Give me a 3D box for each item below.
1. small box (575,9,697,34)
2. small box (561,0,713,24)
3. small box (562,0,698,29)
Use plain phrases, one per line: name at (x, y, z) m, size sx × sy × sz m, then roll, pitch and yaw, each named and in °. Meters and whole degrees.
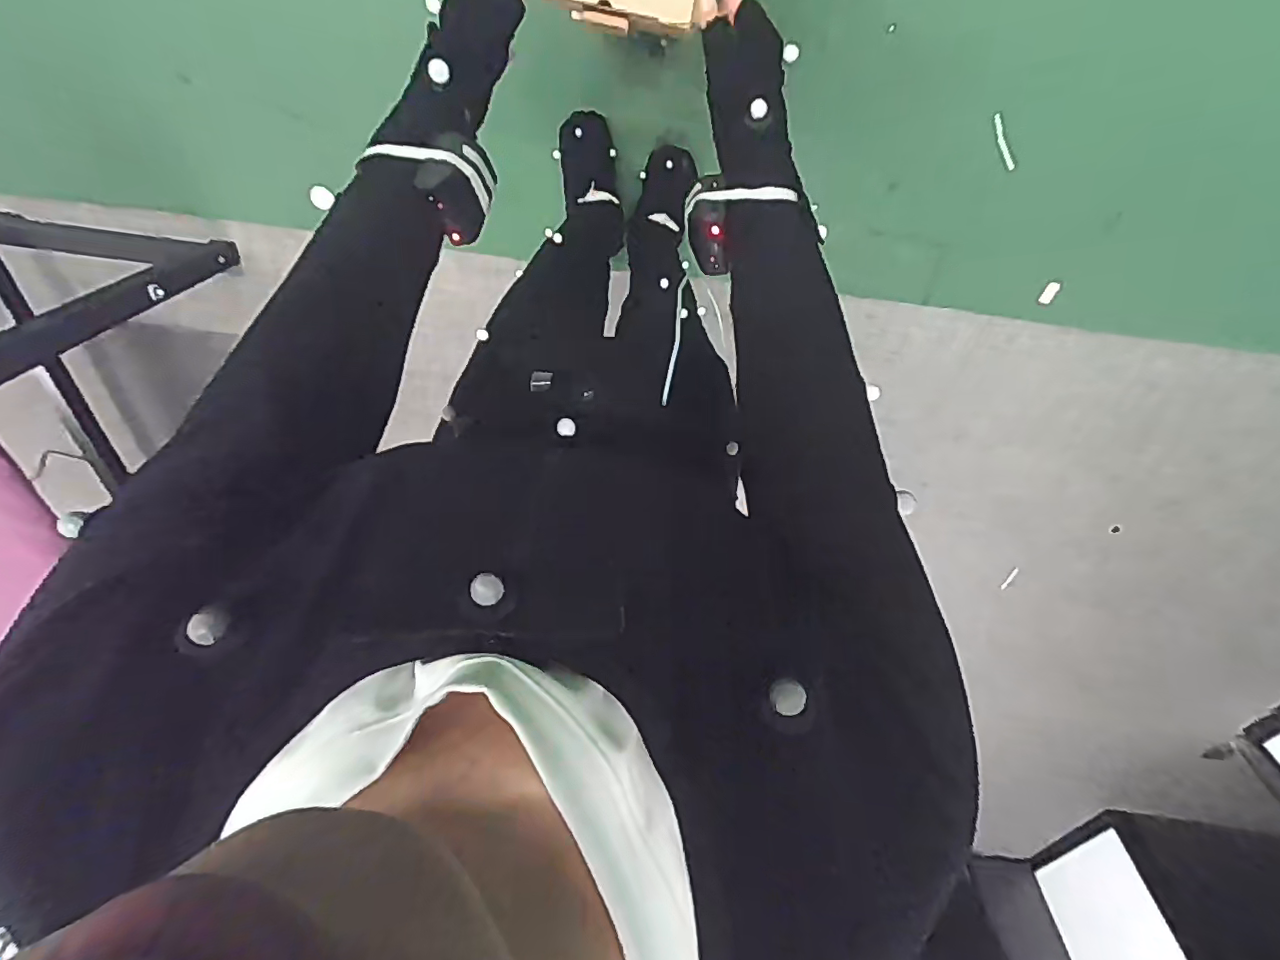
small box at (0.008, -0.755, 0.774) m, size 0.179 × 0.176 × 0.168 m, roll 7°, pitch 130°, yaw -2°
small box at (0.006, -0.658, 0.641) m, size 0.179 × 0.176 × 0.168 m, roll 6°, pitch 129°, yaw 0°
small box at (-0.011, -0.557, 0.512) m, size 0.168 × 0.176 × 0.179 m, roll 10°, pitch 129°, yaw -4°
